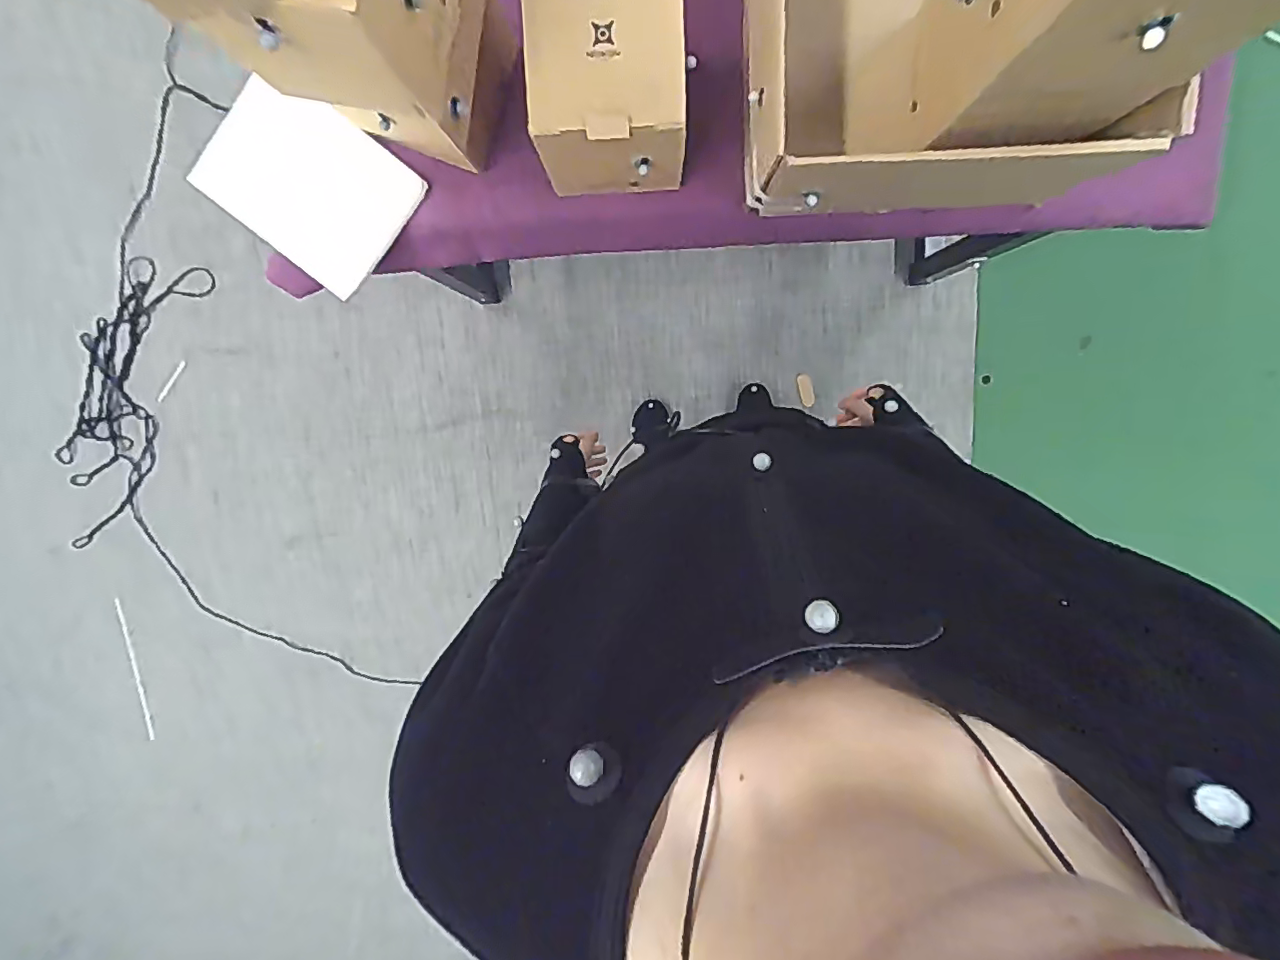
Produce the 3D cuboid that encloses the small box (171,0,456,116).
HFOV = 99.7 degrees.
[{"bbox_3d":[-0.274,-0.454,0.472,0.179,0.176,0.168,11,99,1],"label":"small box"}]

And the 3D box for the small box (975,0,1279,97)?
[{"bbox_3d":[0.388,-0.416,0.399,0.179,0.176,0.168,1,99,5],"label":"small box"}]
